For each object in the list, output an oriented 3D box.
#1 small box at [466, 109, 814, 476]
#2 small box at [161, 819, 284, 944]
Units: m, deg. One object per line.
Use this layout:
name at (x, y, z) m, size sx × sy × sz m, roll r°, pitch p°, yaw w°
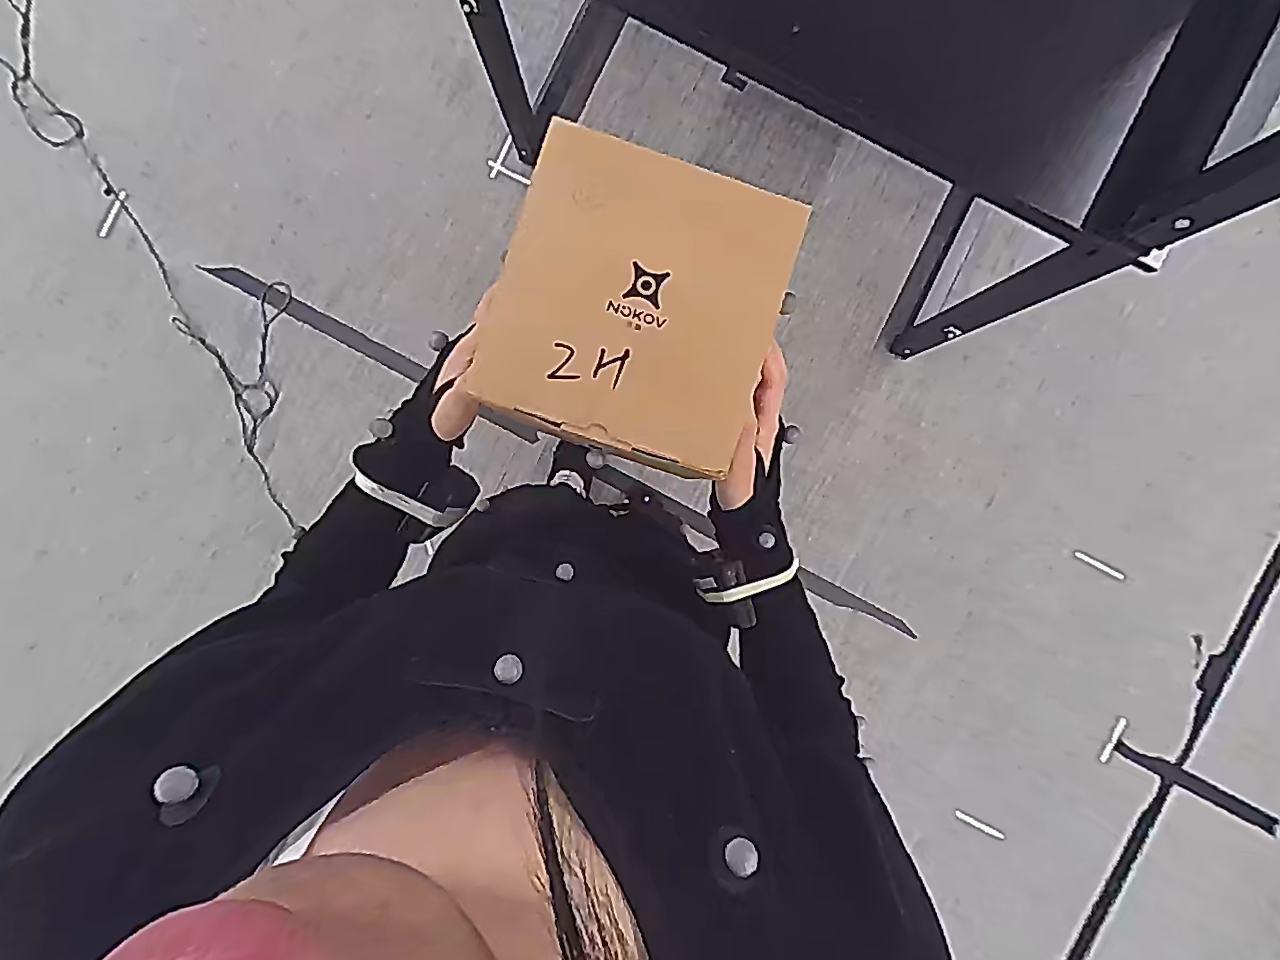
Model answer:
small box at (-0.003, -0.109, 0.395) m, size 0.168 × 0.176 × 0.179 m, roll 18°, pitch 90°, yaw -2°
small box at (-1.074, 1.035, 1.410) m, size 0.168 × 0.176 × 0.179 m, roll 21°, pitch 91°, yaw -1°
